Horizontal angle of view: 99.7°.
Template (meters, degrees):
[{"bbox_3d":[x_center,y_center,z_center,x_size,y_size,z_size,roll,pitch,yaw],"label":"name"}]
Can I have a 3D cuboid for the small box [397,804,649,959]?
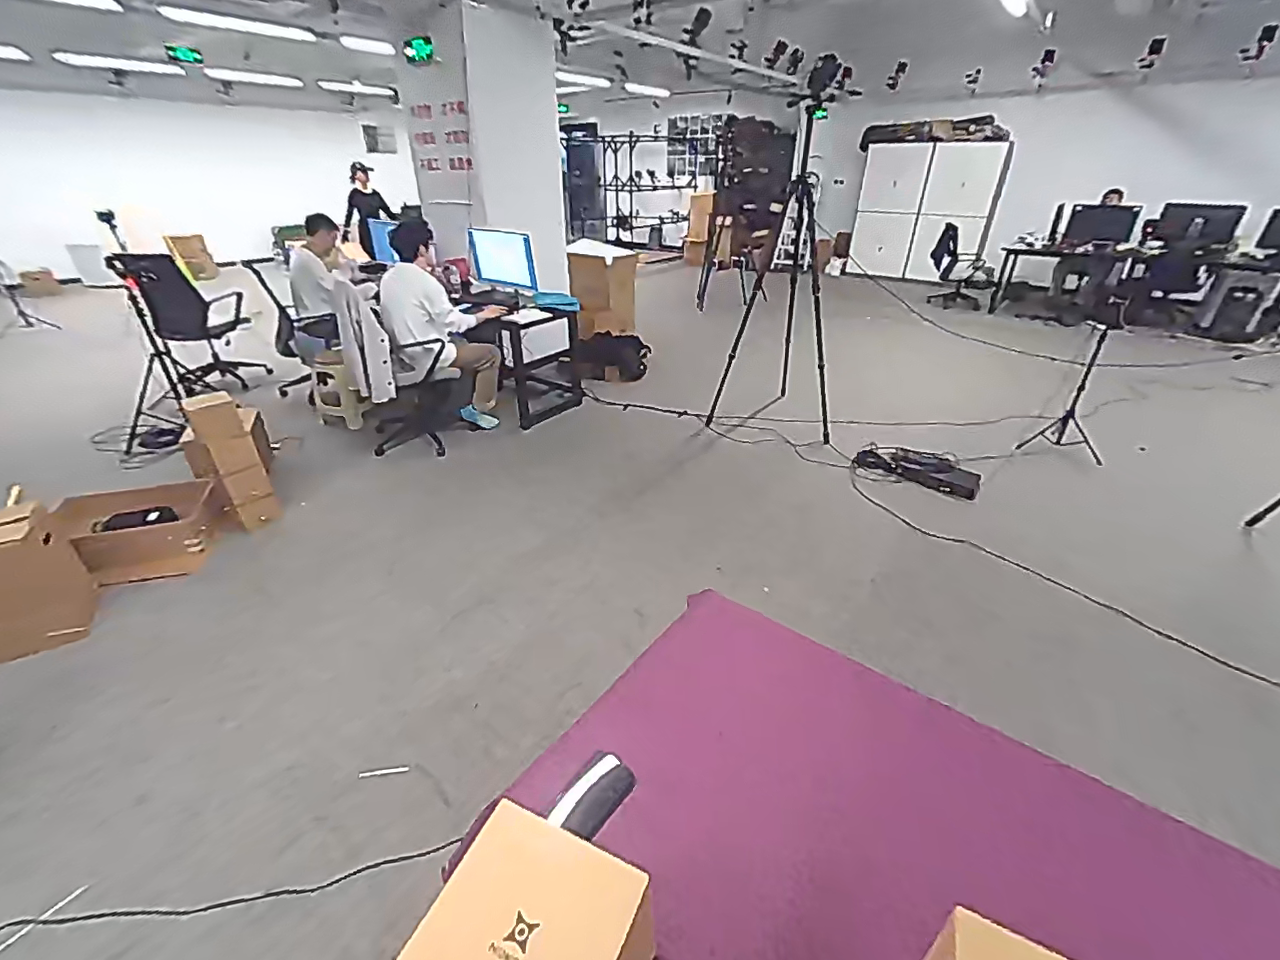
[{"bbox_3d":[-0.101,0.454,0.496,0.168,0.176,0.179,13,37,23],"label":"small box"}]
